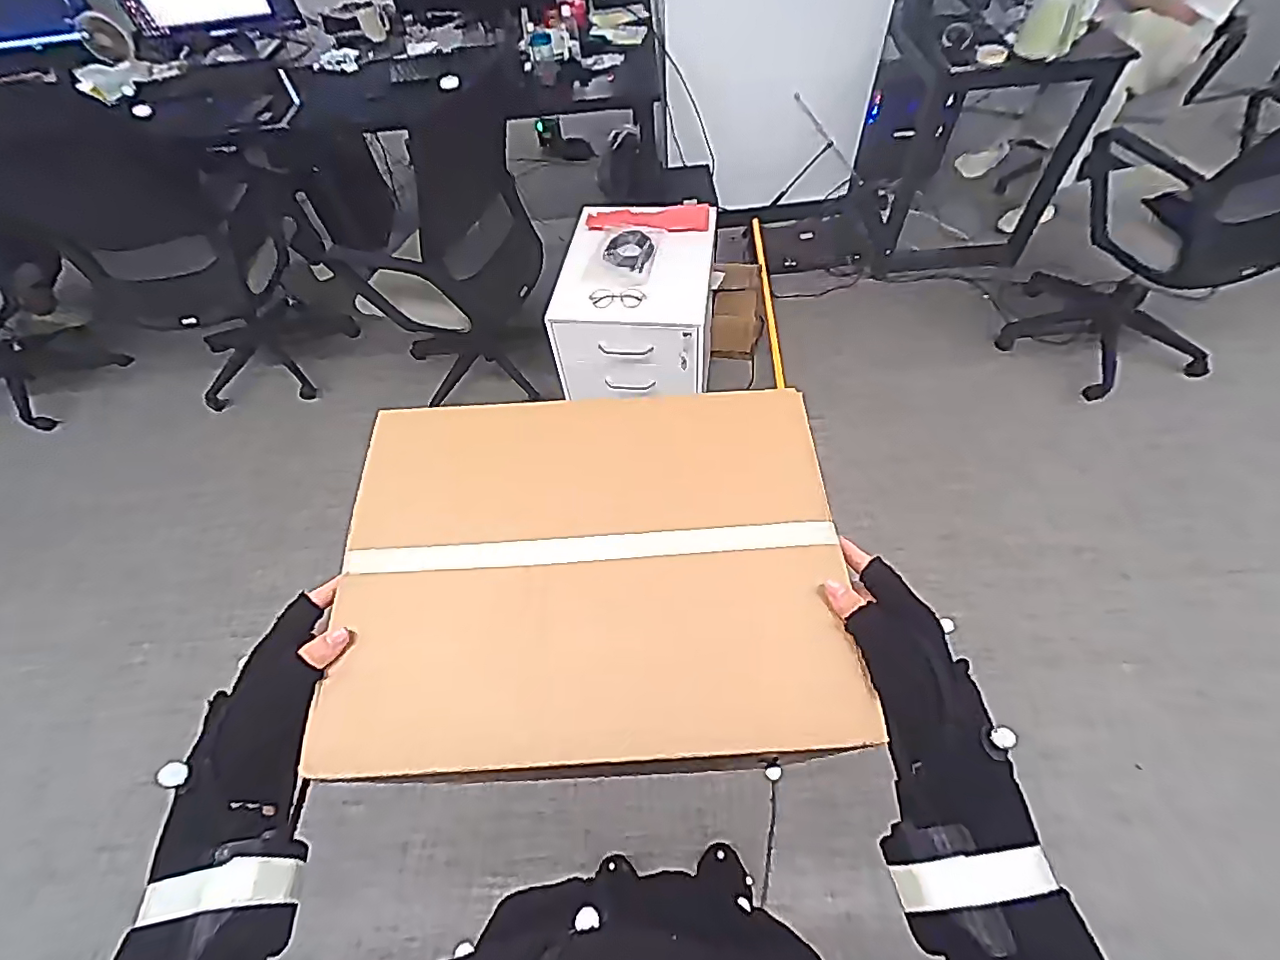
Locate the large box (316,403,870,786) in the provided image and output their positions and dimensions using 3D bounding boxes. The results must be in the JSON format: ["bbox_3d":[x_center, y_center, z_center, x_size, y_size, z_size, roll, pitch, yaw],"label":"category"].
[{"bbox_3d":[-0.037,0.140,0.585,0.408,0.320,0.320,-3,60,-1],"label":"large box"}]
